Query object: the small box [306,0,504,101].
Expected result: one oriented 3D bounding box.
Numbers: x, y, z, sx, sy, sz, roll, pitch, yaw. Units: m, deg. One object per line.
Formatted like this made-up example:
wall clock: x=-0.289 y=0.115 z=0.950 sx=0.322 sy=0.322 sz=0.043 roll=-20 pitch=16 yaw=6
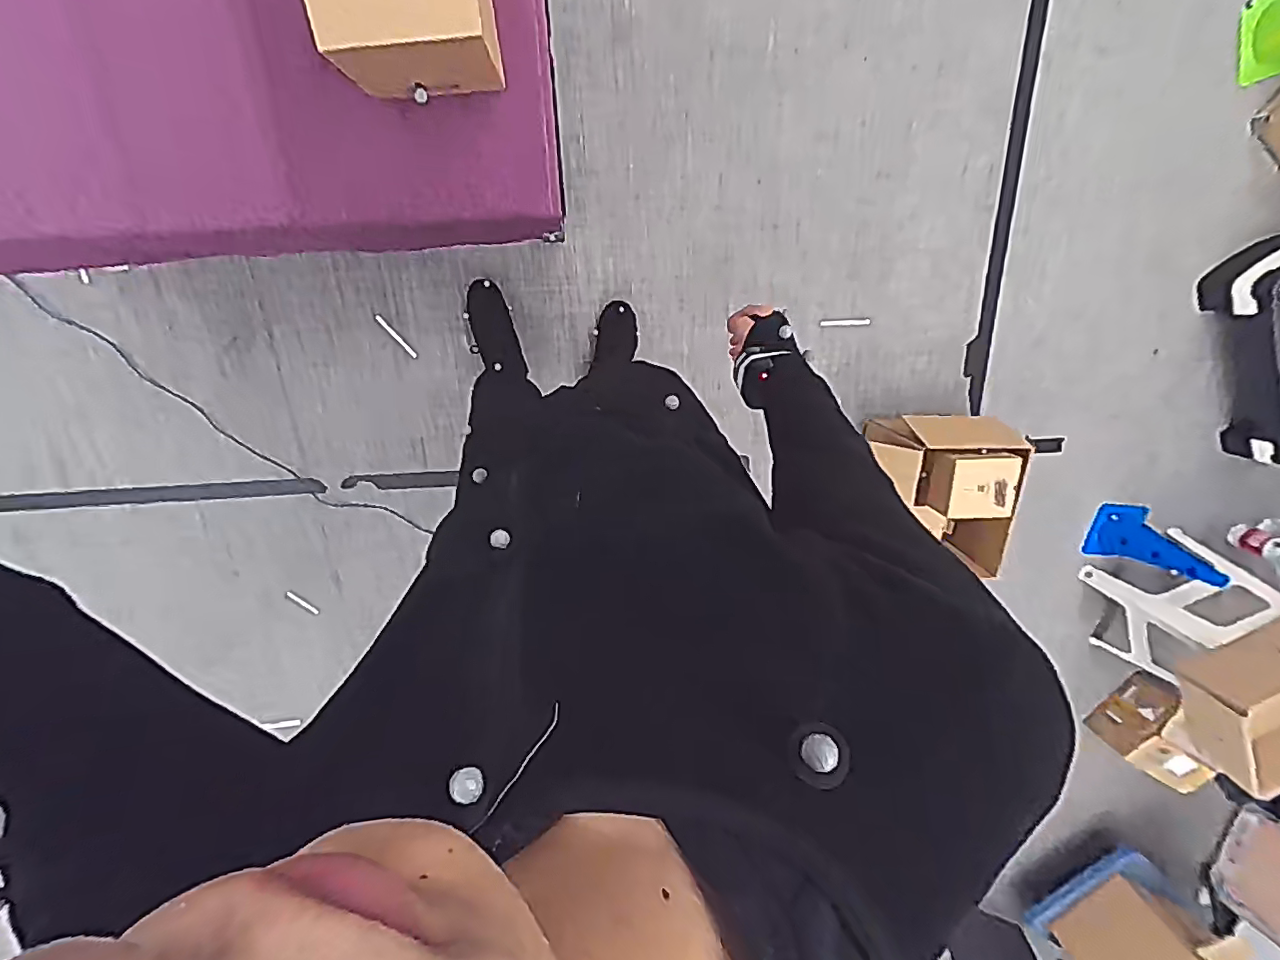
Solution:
small box: x=-0.252 y=-0.543 z=0.582 sx=0.168 sy=0.176 sz=0.179 roll=-7 pitch=110 yaw=-3
